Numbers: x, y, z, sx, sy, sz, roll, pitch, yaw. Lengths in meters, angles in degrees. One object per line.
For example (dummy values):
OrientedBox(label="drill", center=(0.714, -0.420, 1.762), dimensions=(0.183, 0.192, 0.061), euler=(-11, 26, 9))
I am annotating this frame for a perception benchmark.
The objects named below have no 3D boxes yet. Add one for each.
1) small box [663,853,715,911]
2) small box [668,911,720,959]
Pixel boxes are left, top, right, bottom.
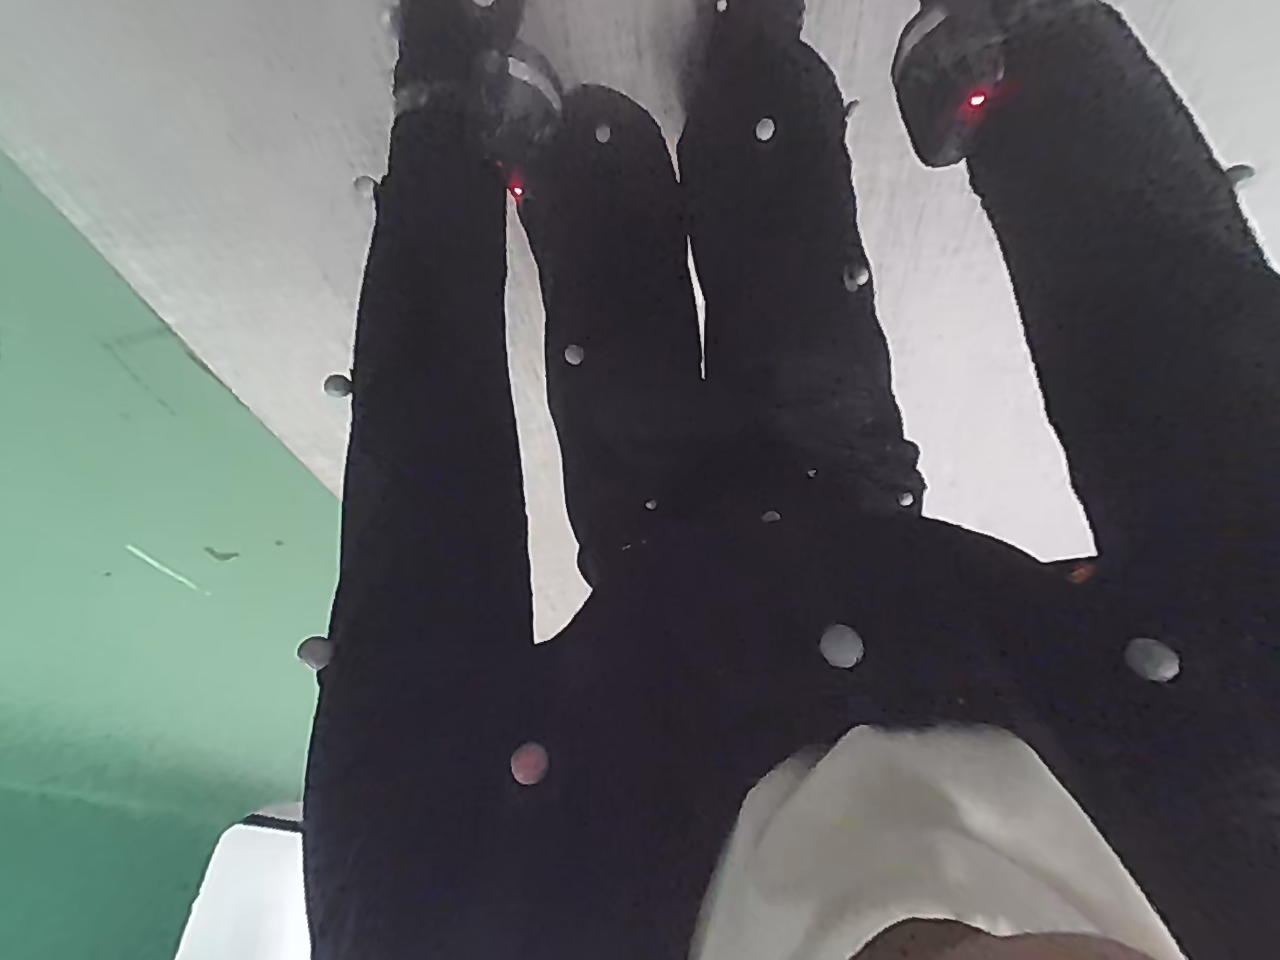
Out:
OrientedBox(label="small box", center=(0.189, 1.548, 2.083), dimensions=(0.179, 0.176, 0.168), euler=(-7, 141, 3))
OrientedBox(label="small box", center=(0.200, 1.687, 1.971), dimensions=(0.168, 0.176, 0.179), euler=(-9, 140, 3))
